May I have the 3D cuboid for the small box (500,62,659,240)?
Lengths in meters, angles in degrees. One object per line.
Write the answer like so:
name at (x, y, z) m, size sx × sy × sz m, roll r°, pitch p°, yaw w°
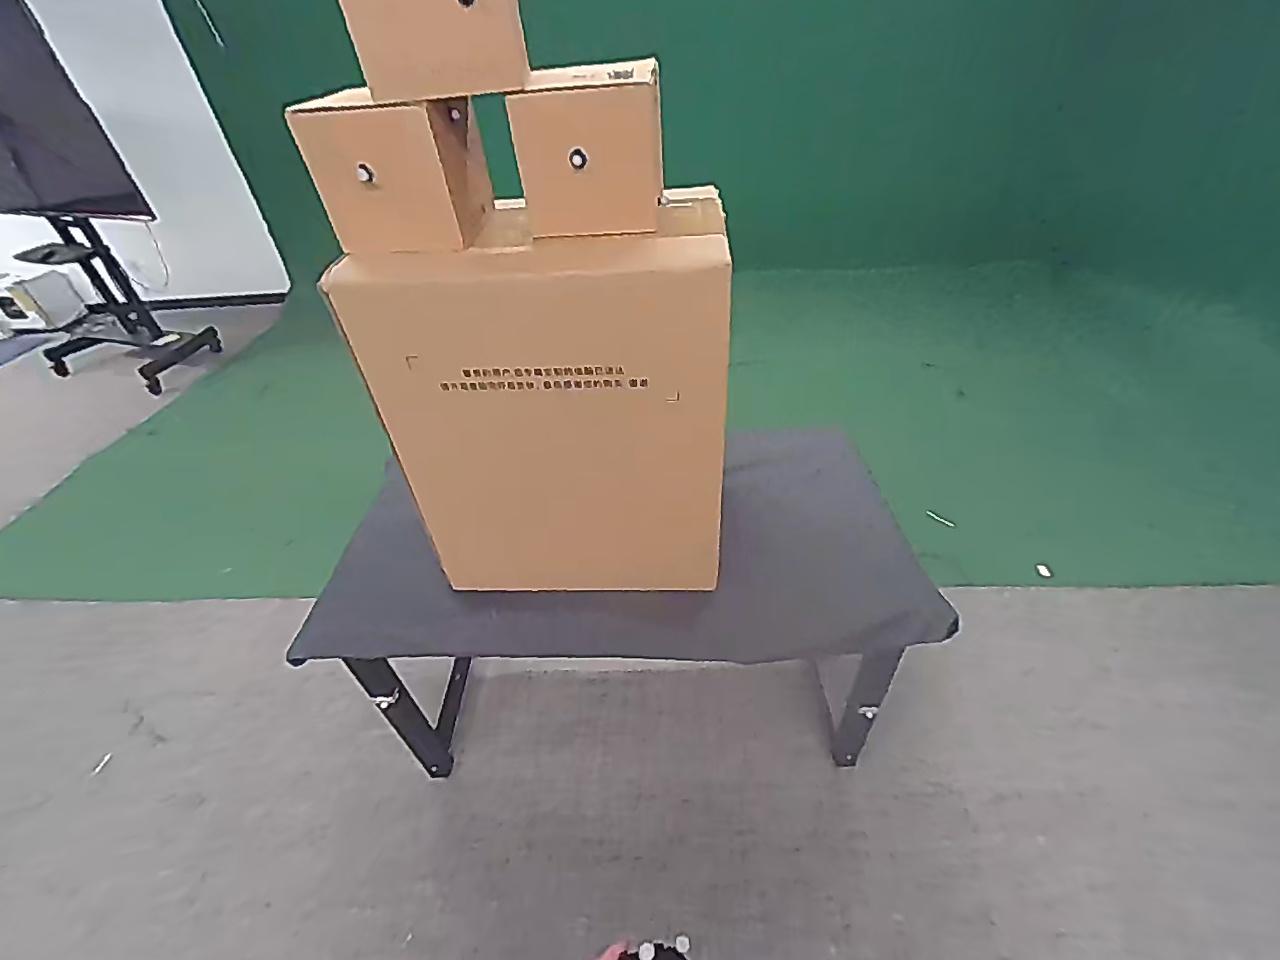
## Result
small box at (-0.066, -0.444, 0.735) m, size 0.179 × 0.176 × 0.168 m, roll -1°, pitch 44°, yaw 6°

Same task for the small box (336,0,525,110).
small box at (-0.236, -0.547, 0.627) m, size 0.179 × 0.176 × 0.168 m, roll -8°, pitch 42°, yaw -2°

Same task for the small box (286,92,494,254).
small box at (-0.323, -0.422, 0.742) m, size 0.179 × 0.176 × 0.168 m, roll 0°, pitch 44°, yaw 6°
